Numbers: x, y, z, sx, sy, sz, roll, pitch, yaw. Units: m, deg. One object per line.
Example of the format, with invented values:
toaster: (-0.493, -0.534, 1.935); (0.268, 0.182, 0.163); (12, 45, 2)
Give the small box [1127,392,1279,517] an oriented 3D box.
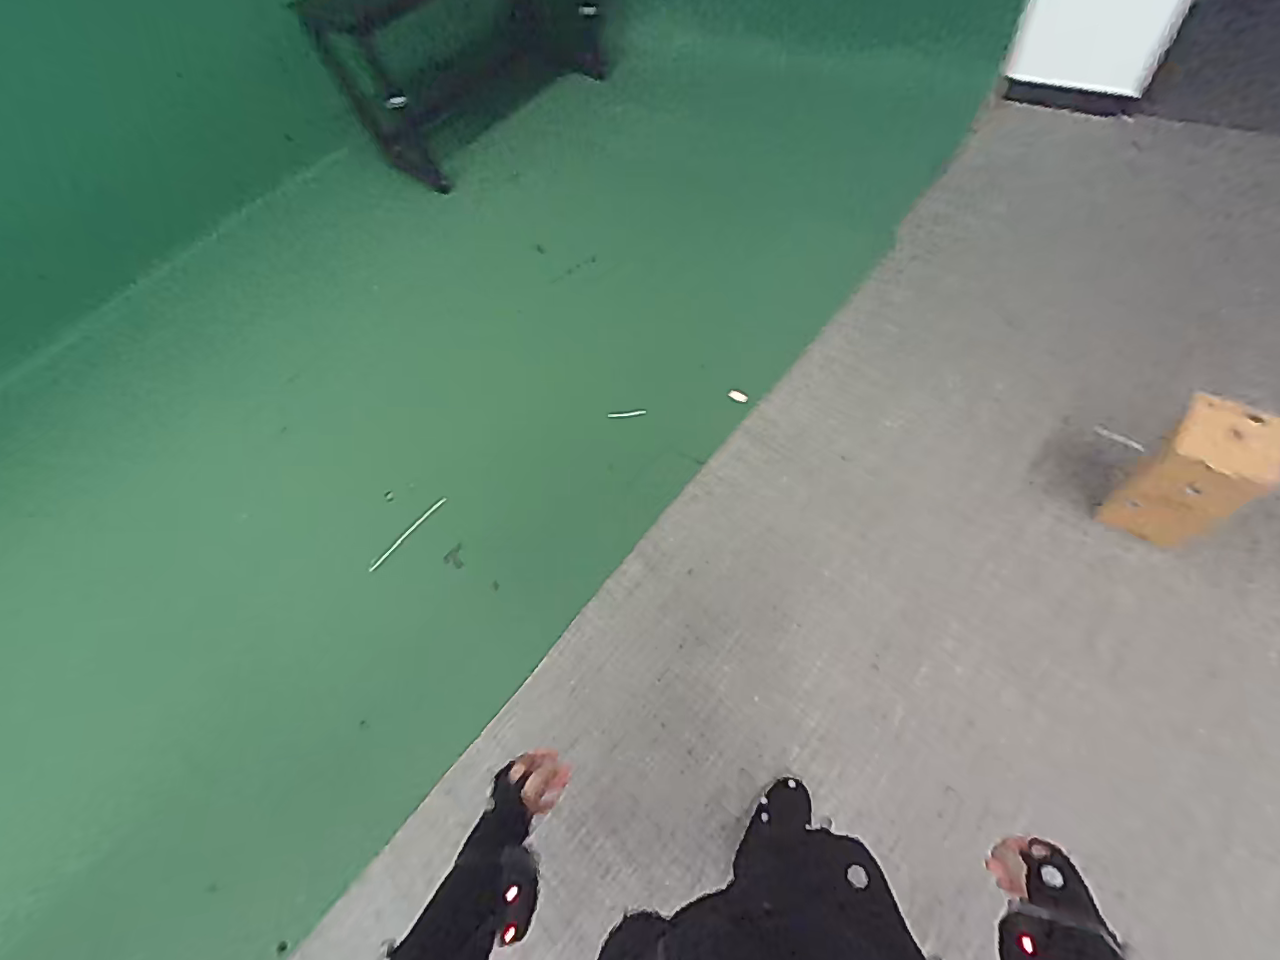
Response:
small box: (1.203, -0.050, 1.161); (0.168, 0.176, 0.179); (31, 71, 26)
